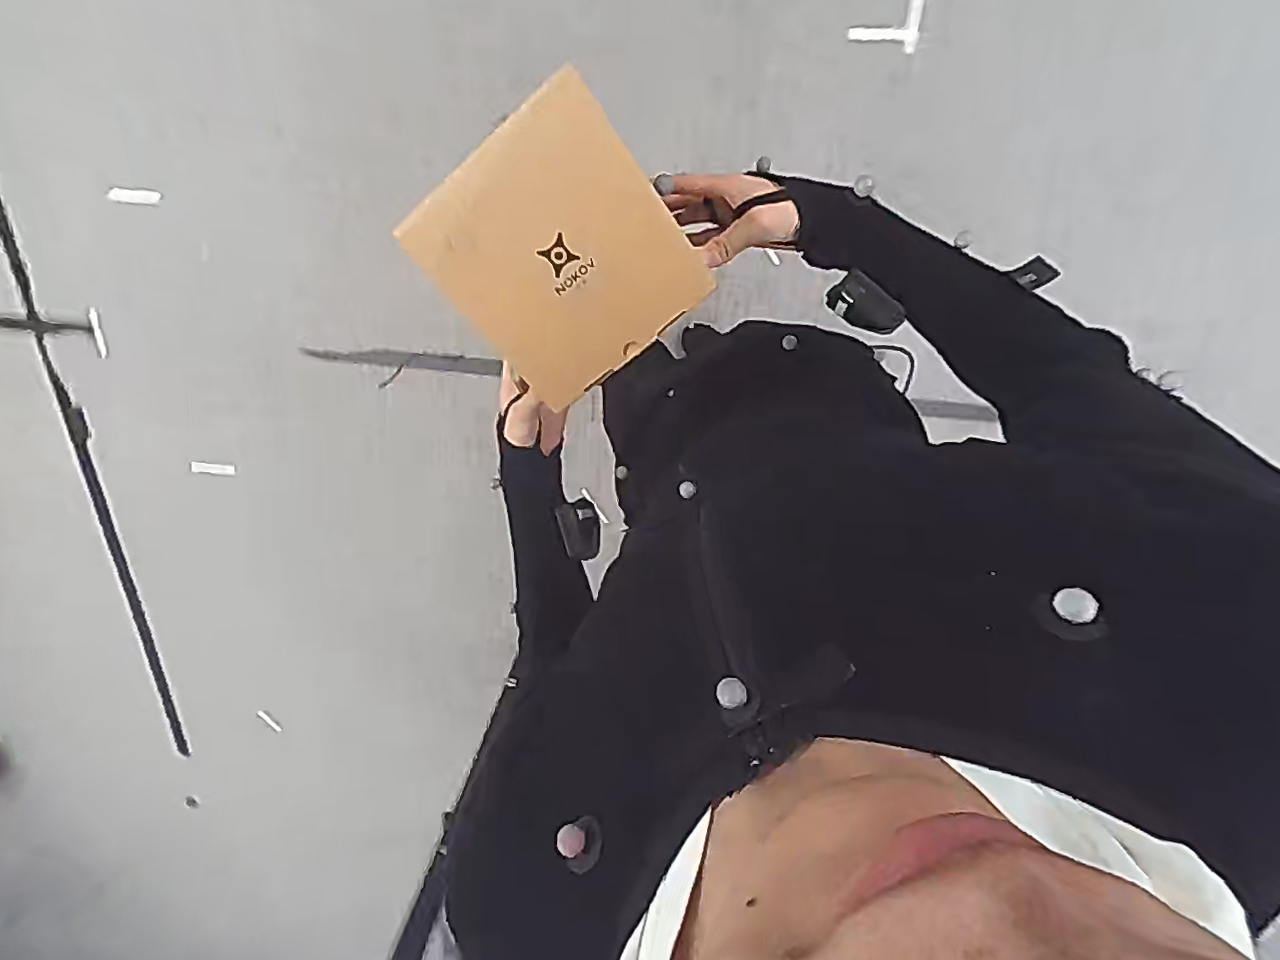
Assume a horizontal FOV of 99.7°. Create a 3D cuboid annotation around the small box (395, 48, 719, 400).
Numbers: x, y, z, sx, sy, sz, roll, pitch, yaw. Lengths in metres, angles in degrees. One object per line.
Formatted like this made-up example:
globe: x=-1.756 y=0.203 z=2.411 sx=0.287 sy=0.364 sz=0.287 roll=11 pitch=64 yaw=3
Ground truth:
small box: x=-0.062 y=-0.203 z=0.457 sx=0.168 sy=0.176 sz=0.179 roll=-35 pitch=116 yaw=12
